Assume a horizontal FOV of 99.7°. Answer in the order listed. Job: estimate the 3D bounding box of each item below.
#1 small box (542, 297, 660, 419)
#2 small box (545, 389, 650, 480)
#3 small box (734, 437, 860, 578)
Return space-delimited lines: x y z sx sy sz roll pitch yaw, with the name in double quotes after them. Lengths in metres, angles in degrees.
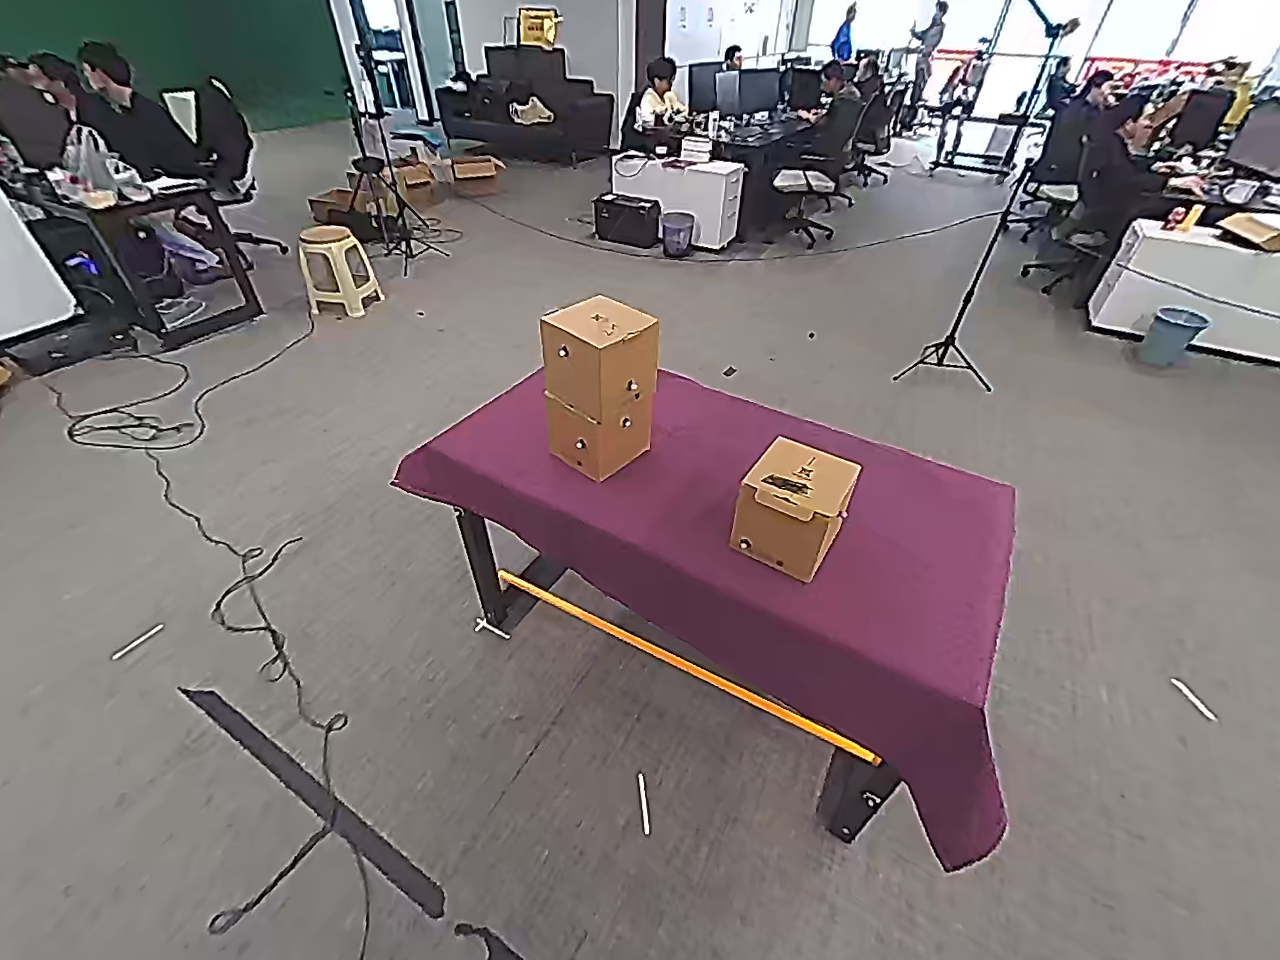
-0.080 -0.251 1.112 0.179 0.176 0.168 33 51 30 "small box"
-0.090 -0.129 1.221 0.168 0.176 0.179 32 49 29 "small box"
0.289 0.053 1.023 0.168 0.176 0.179 25 45 24 "small box"
